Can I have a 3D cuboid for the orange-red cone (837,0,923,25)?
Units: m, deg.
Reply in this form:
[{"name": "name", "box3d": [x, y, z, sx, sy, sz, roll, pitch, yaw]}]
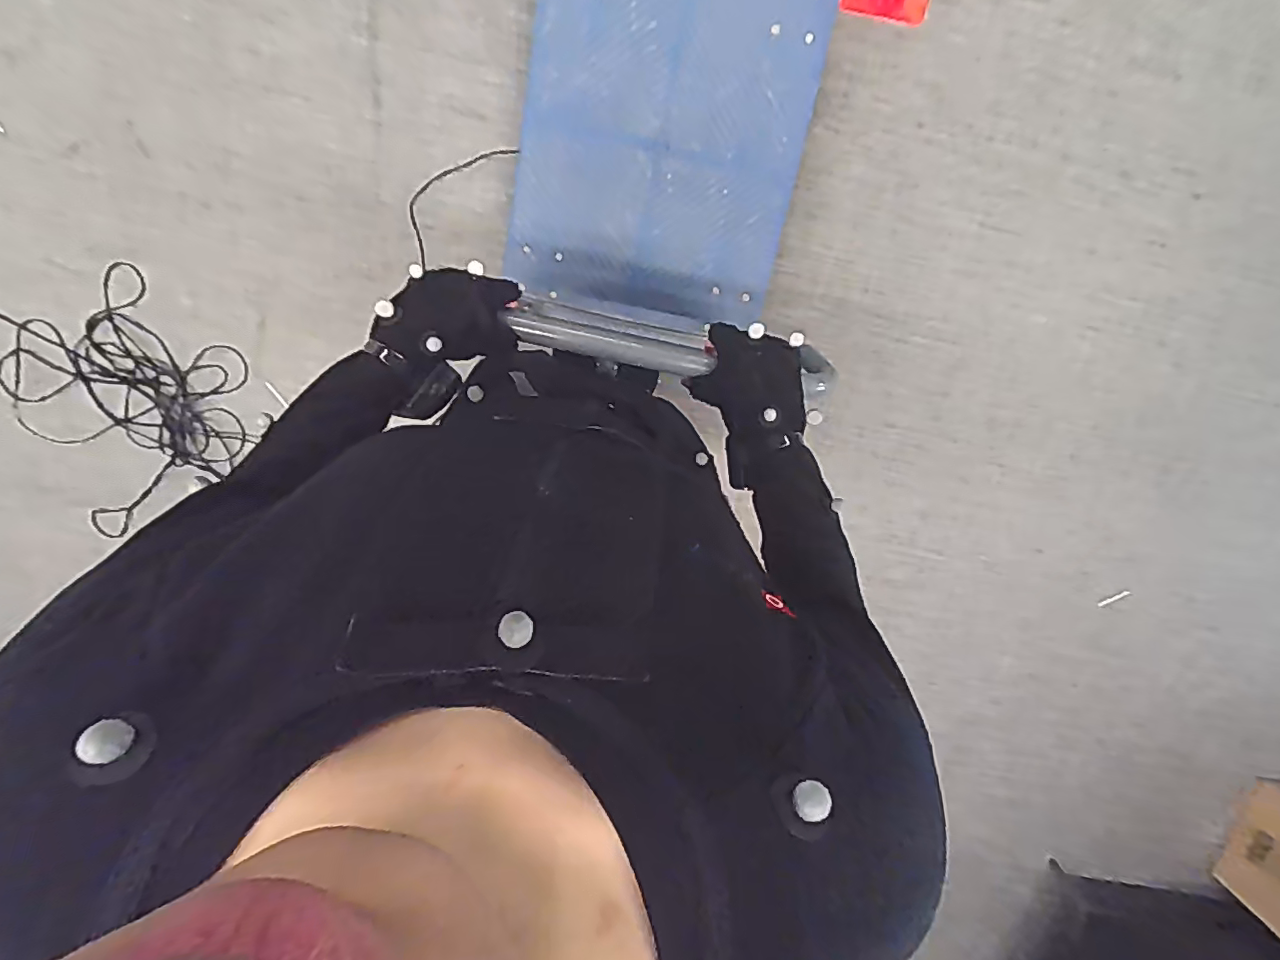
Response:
[{"name": "orange-red cone", "box3d": [0.545, -1.090, 1.028, 0.199, 0.360, 0.198, 11, 104, -2]}]
